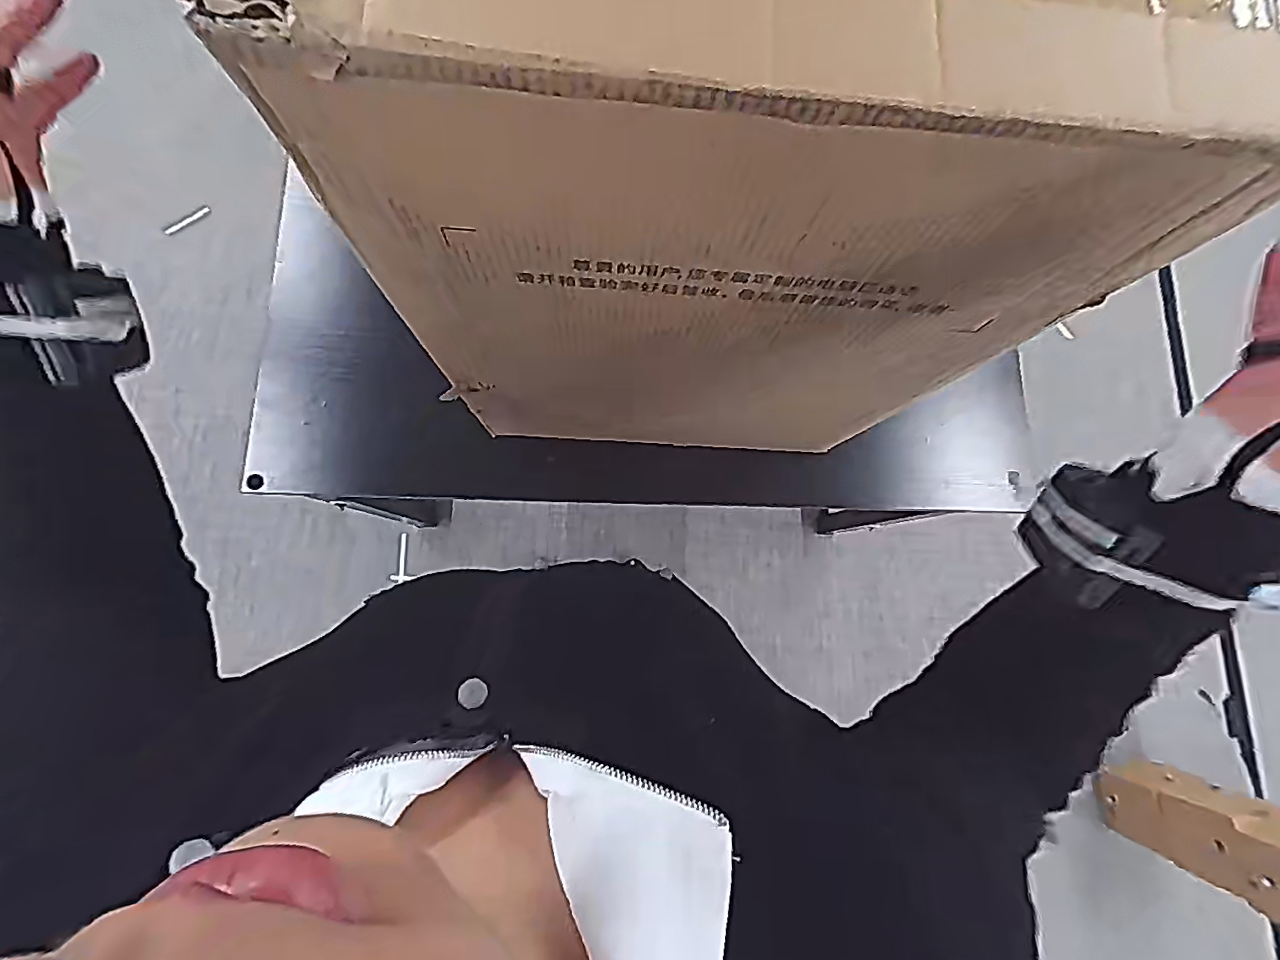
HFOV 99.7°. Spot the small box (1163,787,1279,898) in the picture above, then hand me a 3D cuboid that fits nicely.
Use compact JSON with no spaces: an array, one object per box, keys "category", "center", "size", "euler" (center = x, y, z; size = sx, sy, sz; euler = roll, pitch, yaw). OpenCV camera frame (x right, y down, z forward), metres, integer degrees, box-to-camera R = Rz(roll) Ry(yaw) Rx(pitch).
[{"category":"small box","center":[1.399,0.848,1.277],"size":[0.168,0.176,0.179],"euler":[-3,81,-5]}]

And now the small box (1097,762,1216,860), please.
[{"category":"small box","center":[1.384,0.872,1.440],"size":[0.179,0.176,0.168],"euler":[-5,80,-4]}]

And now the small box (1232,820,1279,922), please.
[{"category":"small box","center":[1.408,0.828,1.114],"size":[0.179,0.176,0.168],"euler":[-6,80,-5]}]
